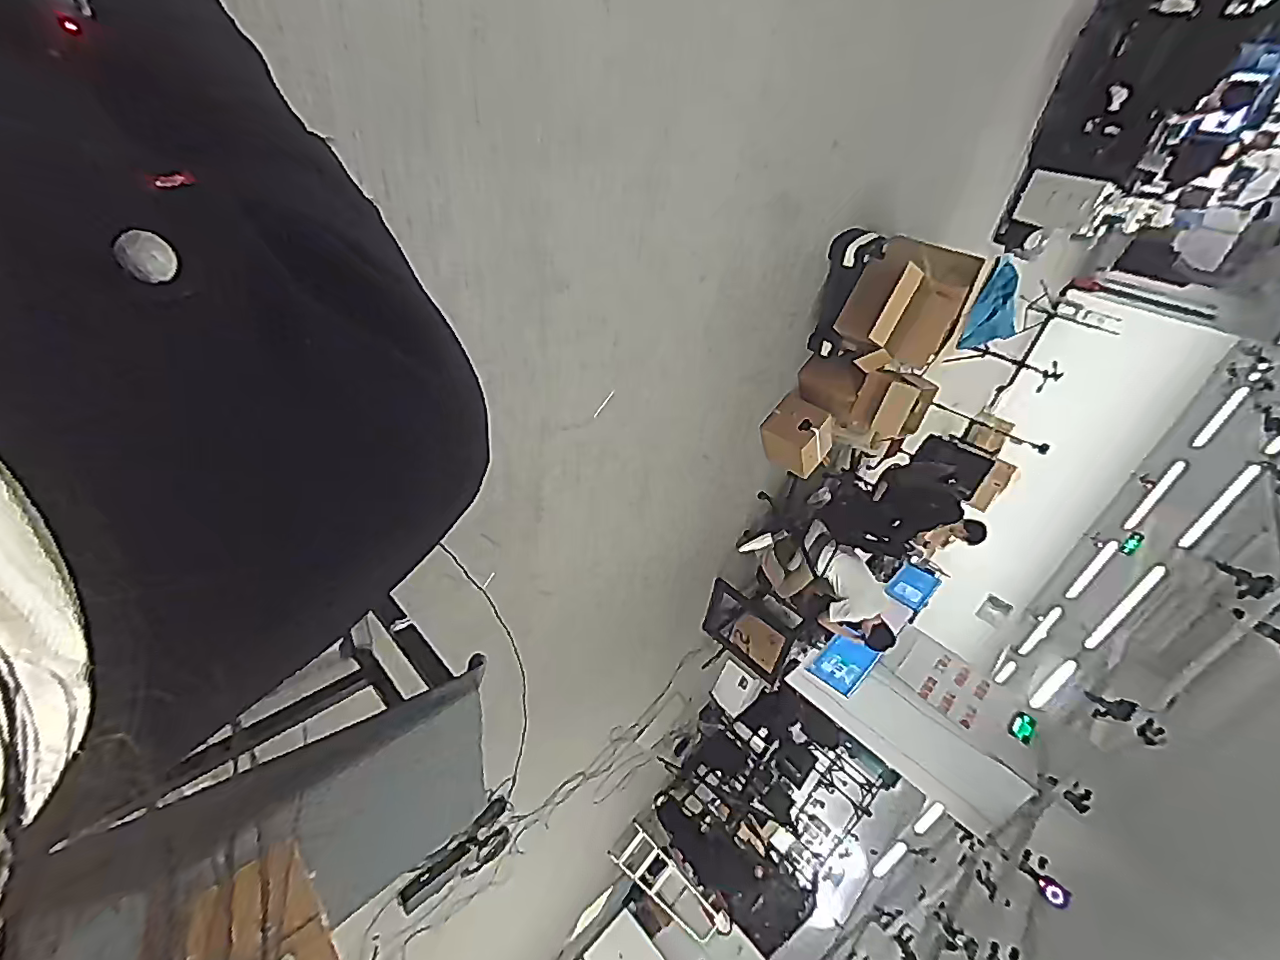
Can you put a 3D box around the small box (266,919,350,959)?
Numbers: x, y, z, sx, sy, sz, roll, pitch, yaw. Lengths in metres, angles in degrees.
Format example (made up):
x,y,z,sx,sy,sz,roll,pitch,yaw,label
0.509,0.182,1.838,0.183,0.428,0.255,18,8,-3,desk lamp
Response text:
x,y,z,sx,sy,sz,roll,pitch,yaw,label
-0.569,0.902,0.914,0.168,0.176,0.179,-26,137,-42,small box

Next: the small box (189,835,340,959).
x,y,z,sx,sy,sz,roll,pitch,yaw,label
-0.694,0.818,1.008,0.179,0.176,0.168,-23,135,-41,small box
